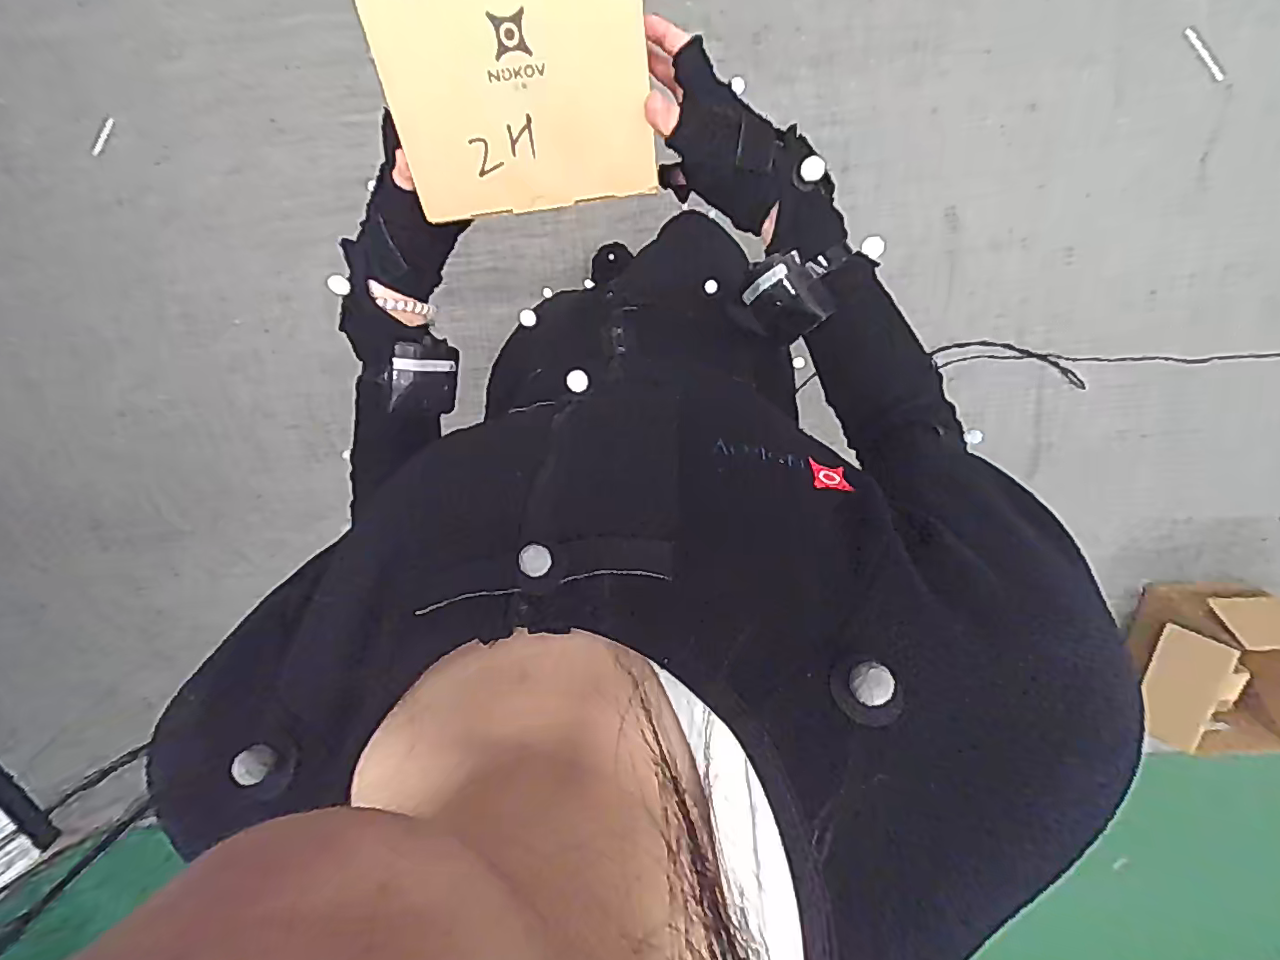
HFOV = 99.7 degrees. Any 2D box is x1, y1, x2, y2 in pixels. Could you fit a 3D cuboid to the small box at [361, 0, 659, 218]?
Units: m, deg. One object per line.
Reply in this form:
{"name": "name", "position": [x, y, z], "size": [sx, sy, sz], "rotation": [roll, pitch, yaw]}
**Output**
{"name": "small box", "position": [-0.080, -0.304, 0.385], "size": [0.168, 0.176, 0.179], "rotation": [-7, 127, 1]}
